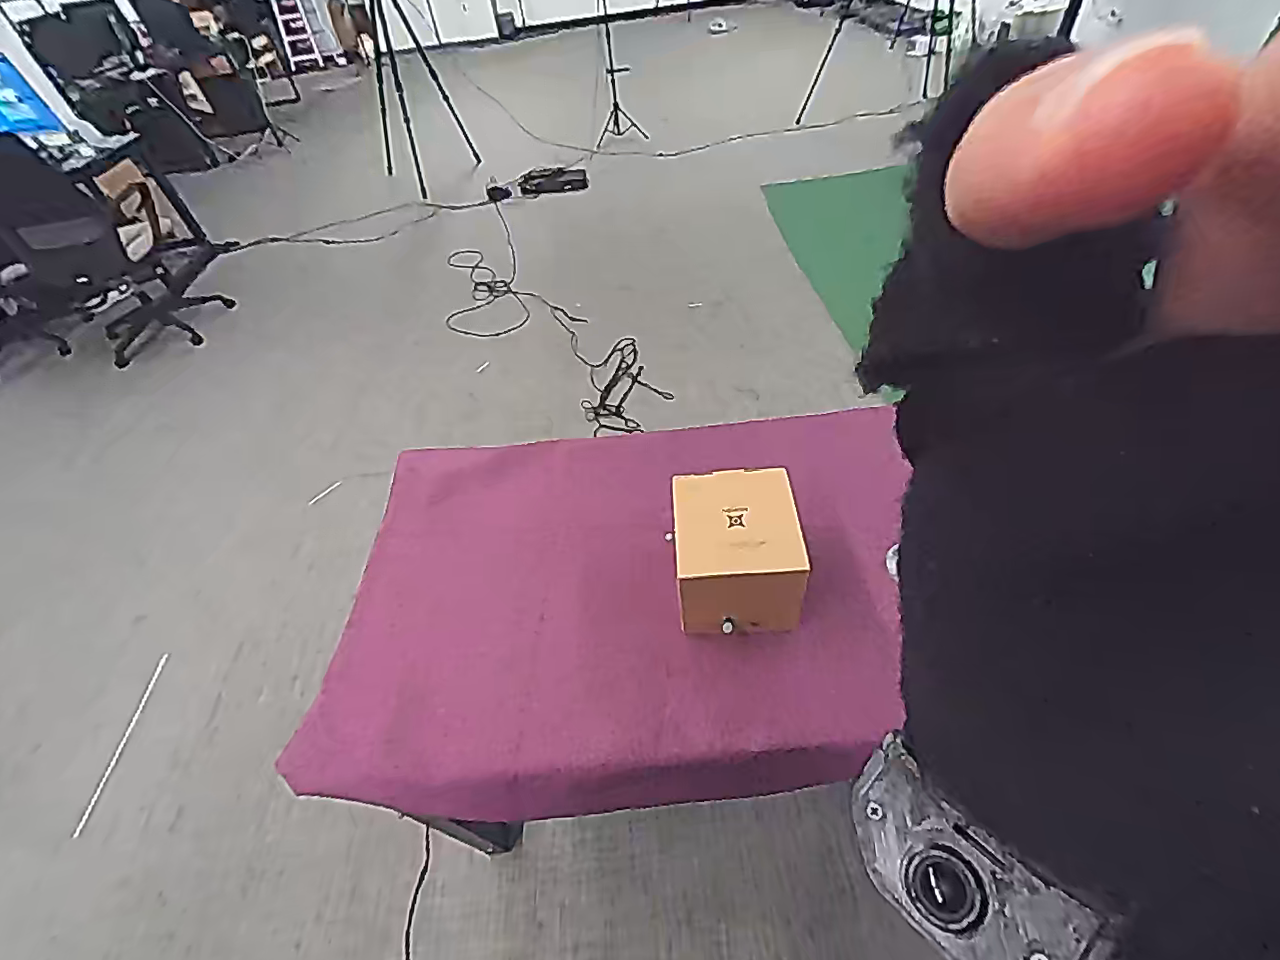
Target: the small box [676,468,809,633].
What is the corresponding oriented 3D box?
[{"bbox_3d":[0.139,0.105,0.790,0.168,0.176,0.179,-4,48,5],"label":"small box"}]
